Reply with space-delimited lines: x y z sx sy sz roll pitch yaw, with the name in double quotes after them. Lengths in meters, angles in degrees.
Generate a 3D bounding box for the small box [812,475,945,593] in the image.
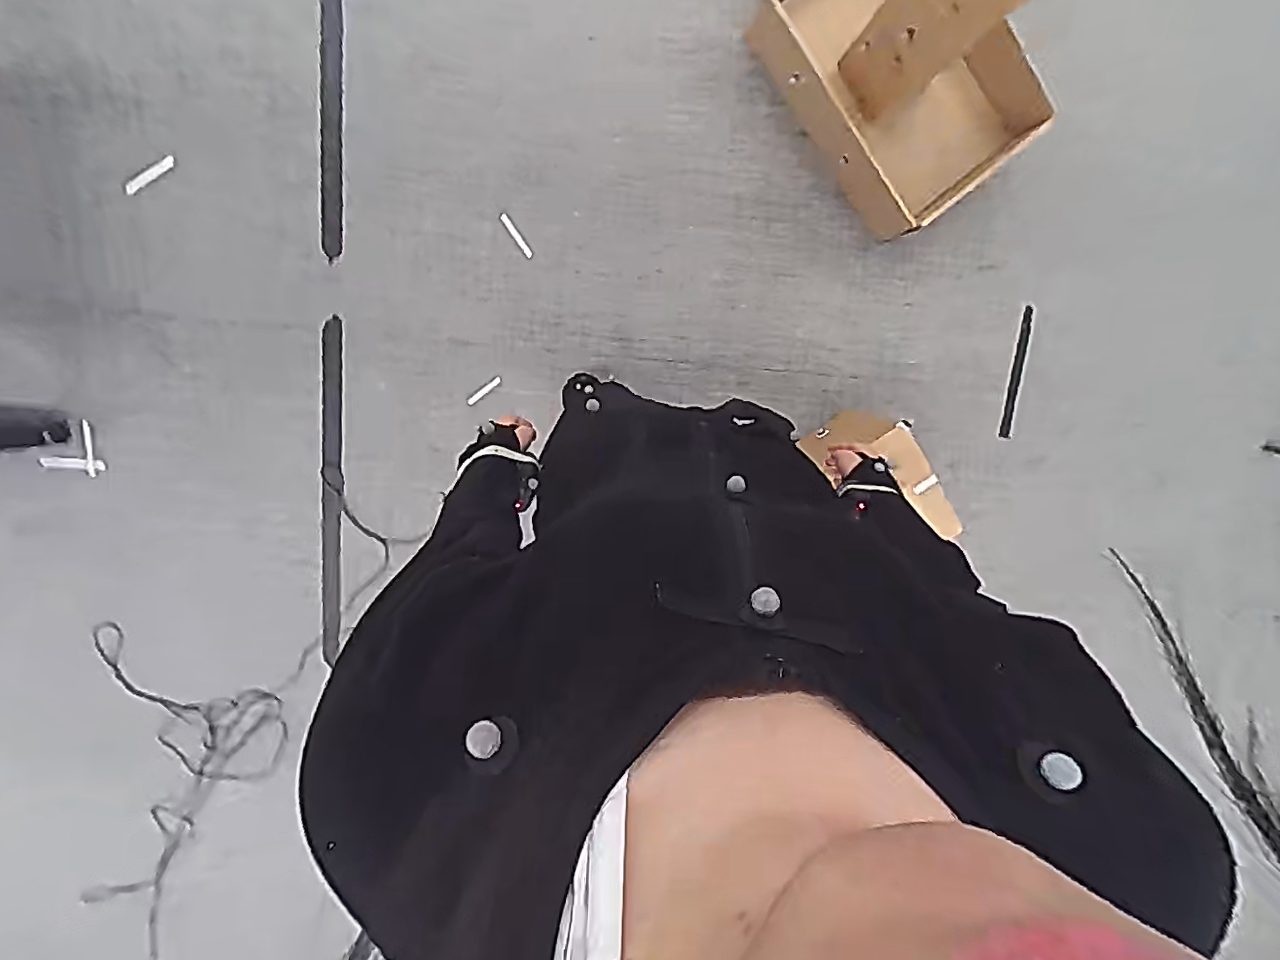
0.498 0.103 1.157 0.168 0.176 0.179 -33 102 4 "small box"

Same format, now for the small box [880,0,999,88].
0.602 -0.924 1.057 0.179 0.176 0.168 -34 103 3 "small box"

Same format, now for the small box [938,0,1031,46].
0.625 -0.891 0.899 0.179 0.176 0.168 -35 103 3 "small box"
